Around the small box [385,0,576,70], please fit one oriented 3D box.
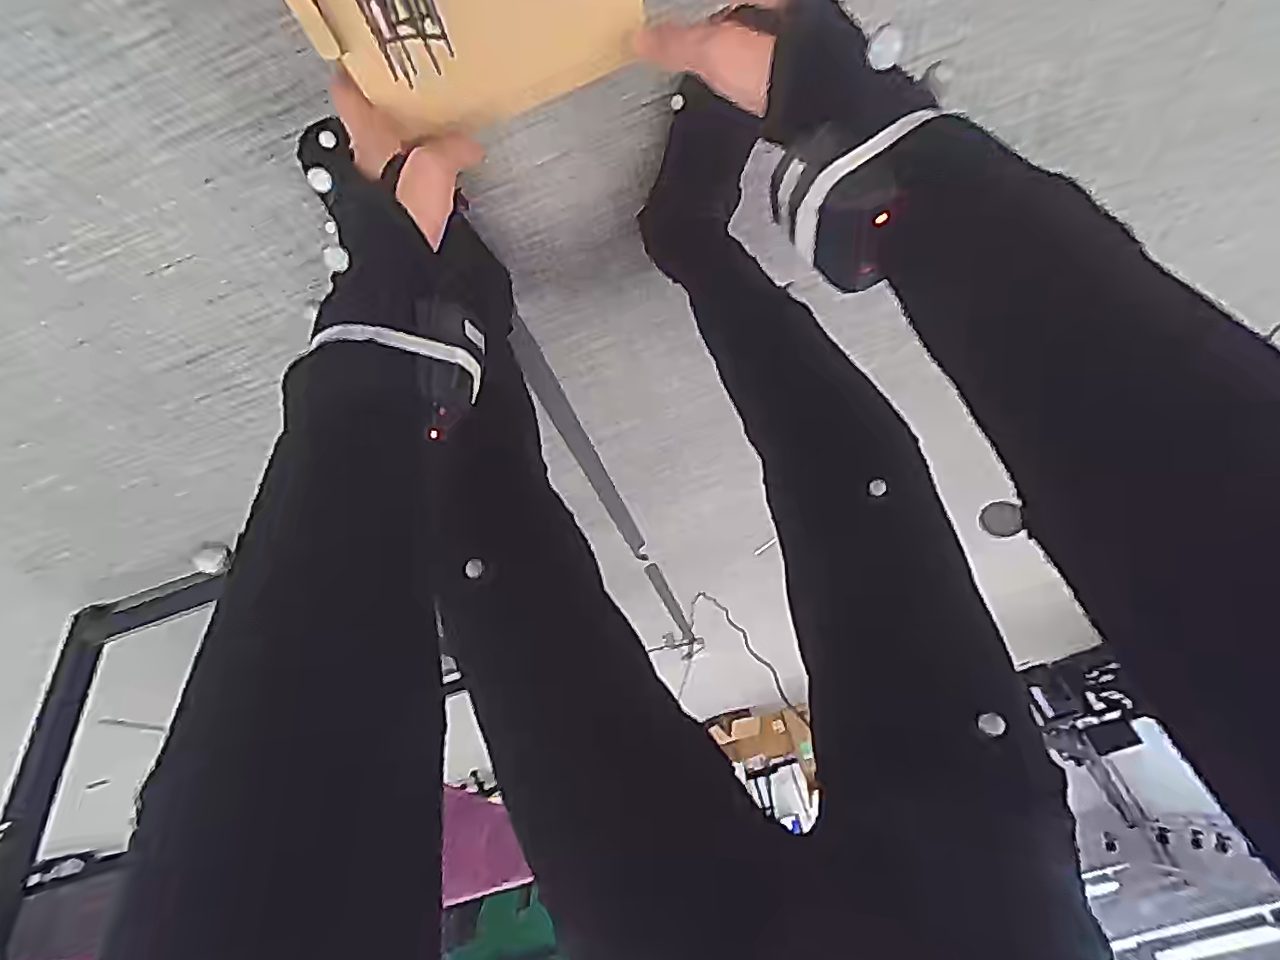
[{"bbox_3d":[-0.144,-0.469,0.408,0.168,0.176,0.179,-21,146,7],"label":"small box"}]
